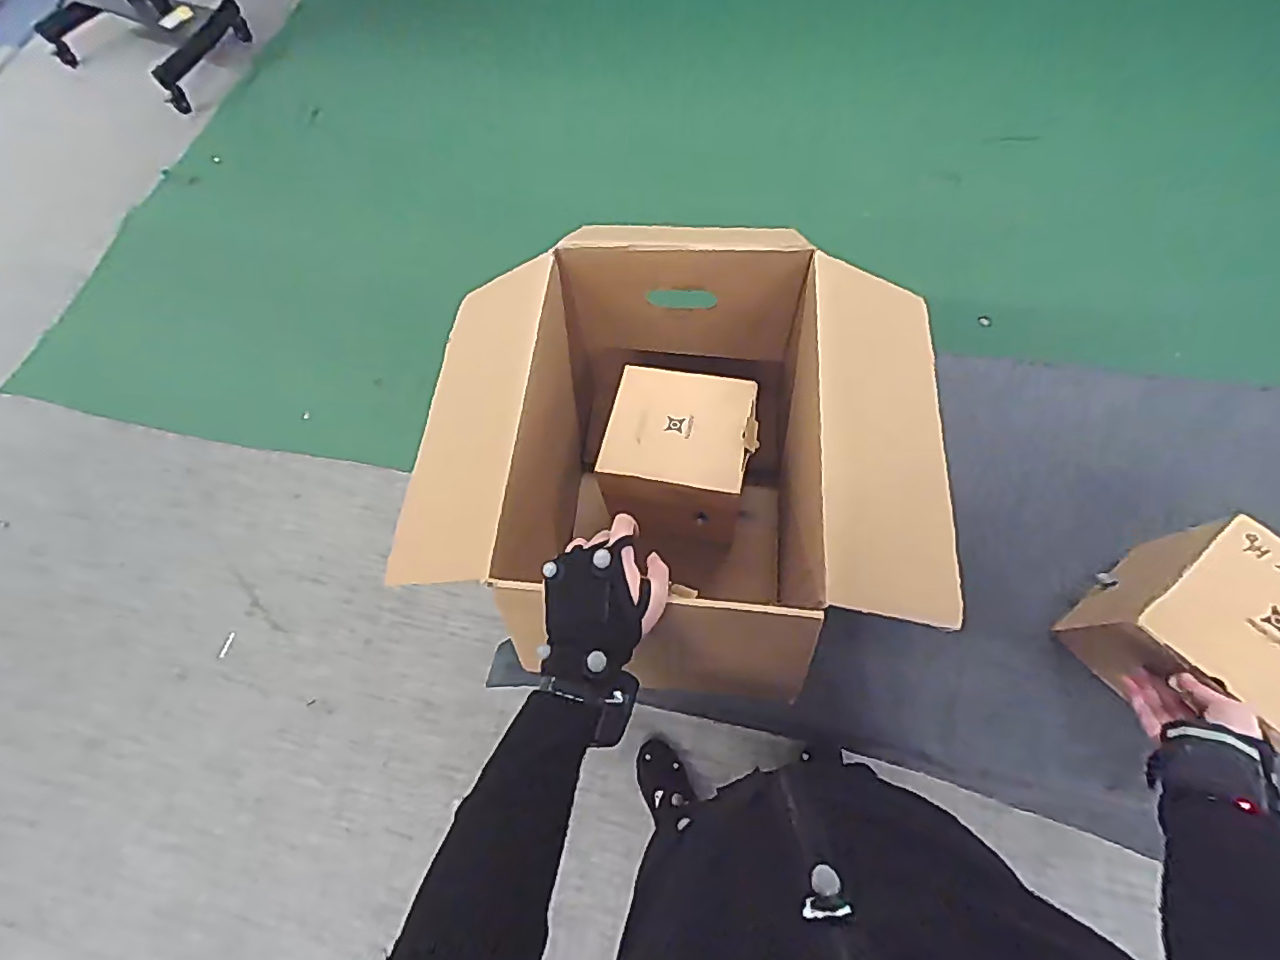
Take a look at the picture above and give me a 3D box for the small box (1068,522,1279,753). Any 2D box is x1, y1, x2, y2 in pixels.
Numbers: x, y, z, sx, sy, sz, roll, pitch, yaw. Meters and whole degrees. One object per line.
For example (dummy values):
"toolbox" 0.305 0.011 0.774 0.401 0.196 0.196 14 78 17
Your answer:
"small box" 0.645 0.182 0.616 0.179 0.176 0.168 -39 68 -6
